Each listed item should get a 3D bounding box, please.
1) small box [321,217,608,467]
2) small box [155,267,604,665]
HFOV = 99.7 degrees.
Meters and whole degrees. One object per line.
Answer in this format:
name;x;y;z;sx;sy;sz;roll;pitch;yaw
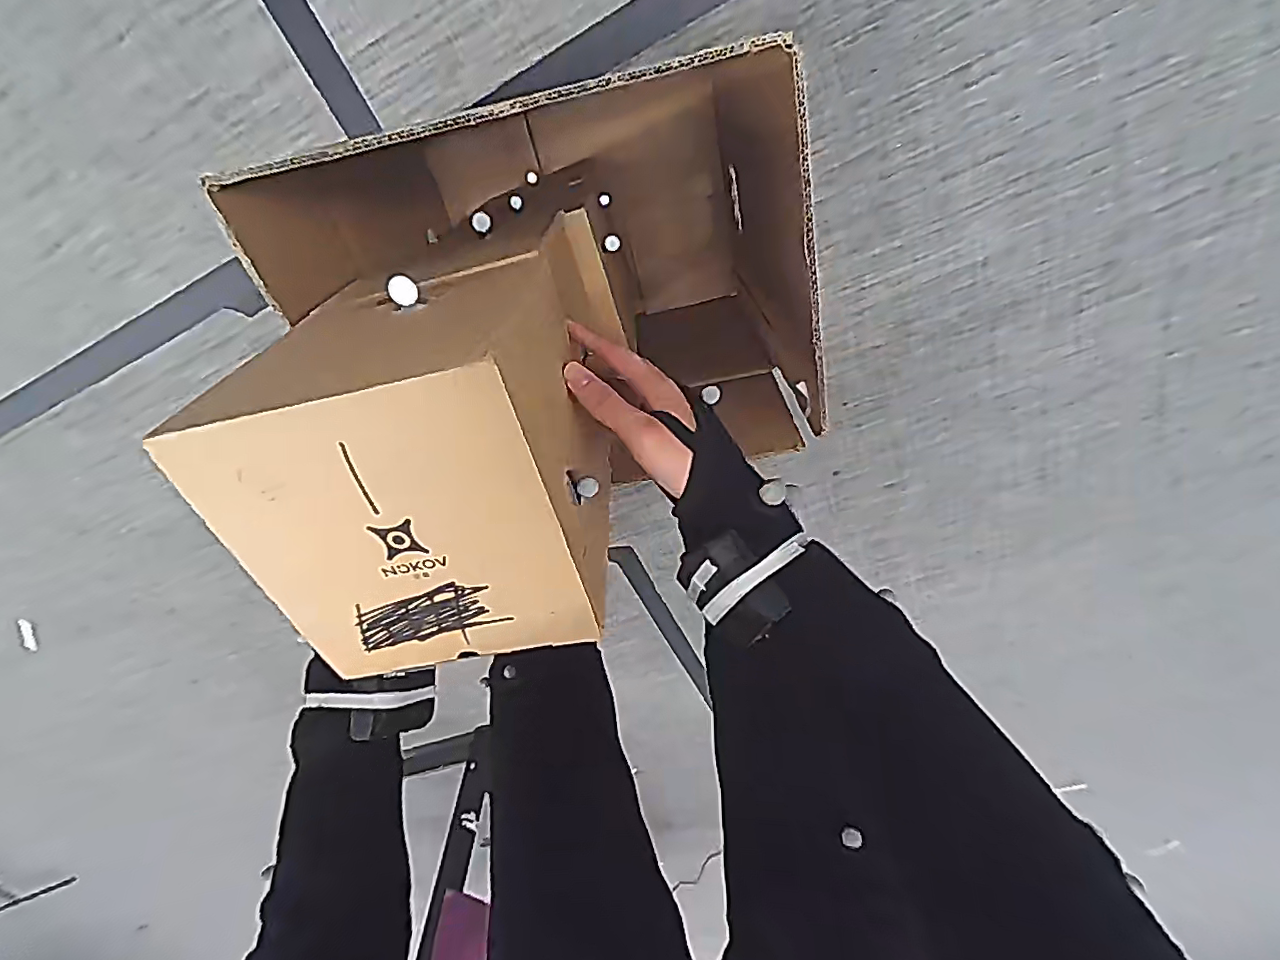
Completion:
small box;-0.127;-0.109;0.478;0.168;0.176;0.179;-12;125;6
small box;-0.122;-0.013;0.345;0.168;0.176;0.179;-11;125;6
